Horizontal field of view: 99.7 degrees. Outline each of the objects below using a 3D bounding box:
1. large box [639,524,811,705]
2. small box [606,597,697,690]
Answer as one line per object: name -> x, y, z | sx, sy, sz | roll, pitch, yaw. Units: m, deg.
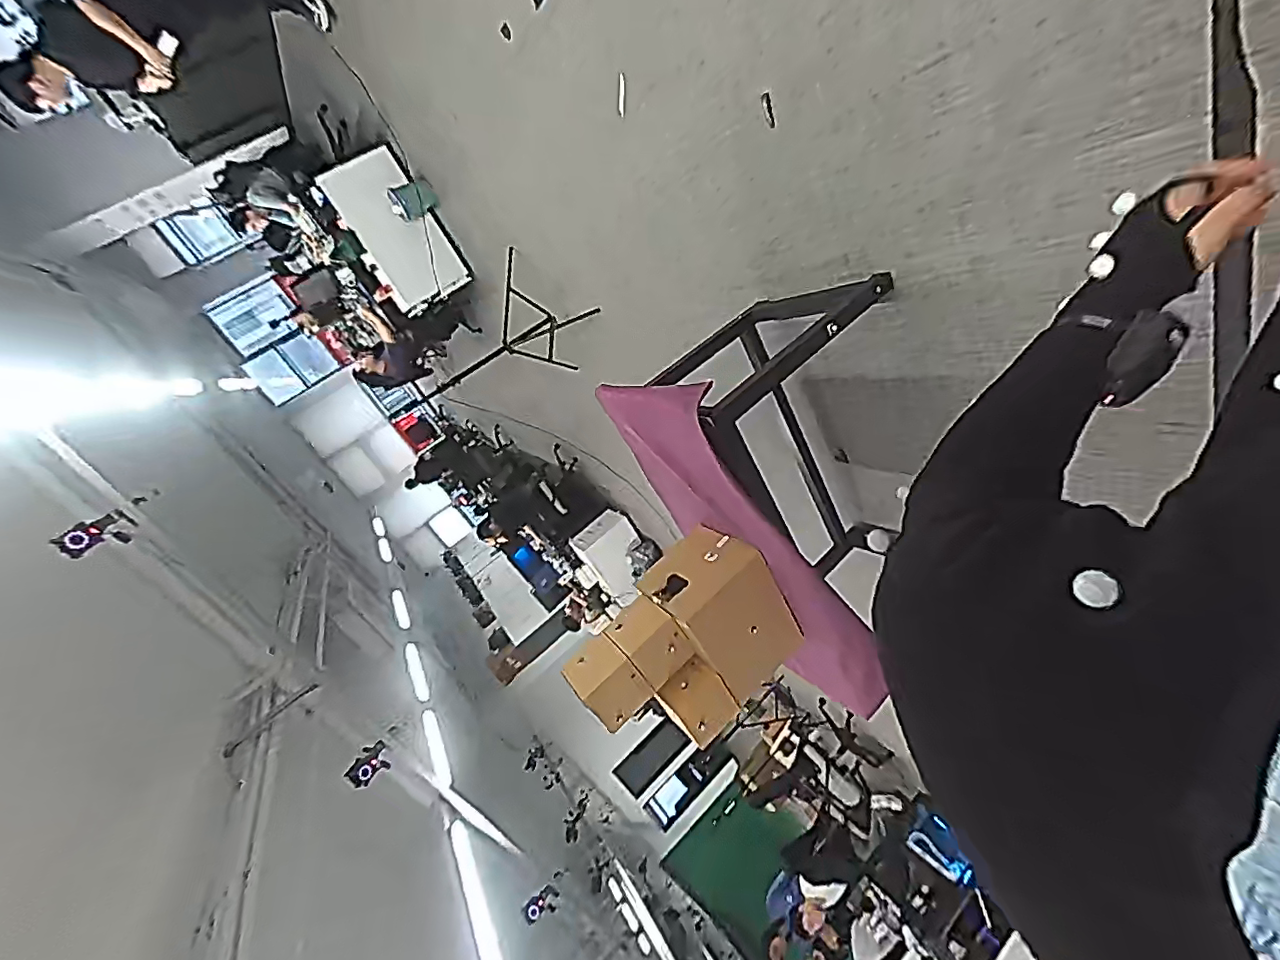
large box -> 0.270, 0.408, 1.715 | 0.408, 0.320, 0.320 | 57, 164, -26
small box -> 0.036, 0.473, 1.597 | 0.168, 0.176, 0.179 | 57, 163, -26
